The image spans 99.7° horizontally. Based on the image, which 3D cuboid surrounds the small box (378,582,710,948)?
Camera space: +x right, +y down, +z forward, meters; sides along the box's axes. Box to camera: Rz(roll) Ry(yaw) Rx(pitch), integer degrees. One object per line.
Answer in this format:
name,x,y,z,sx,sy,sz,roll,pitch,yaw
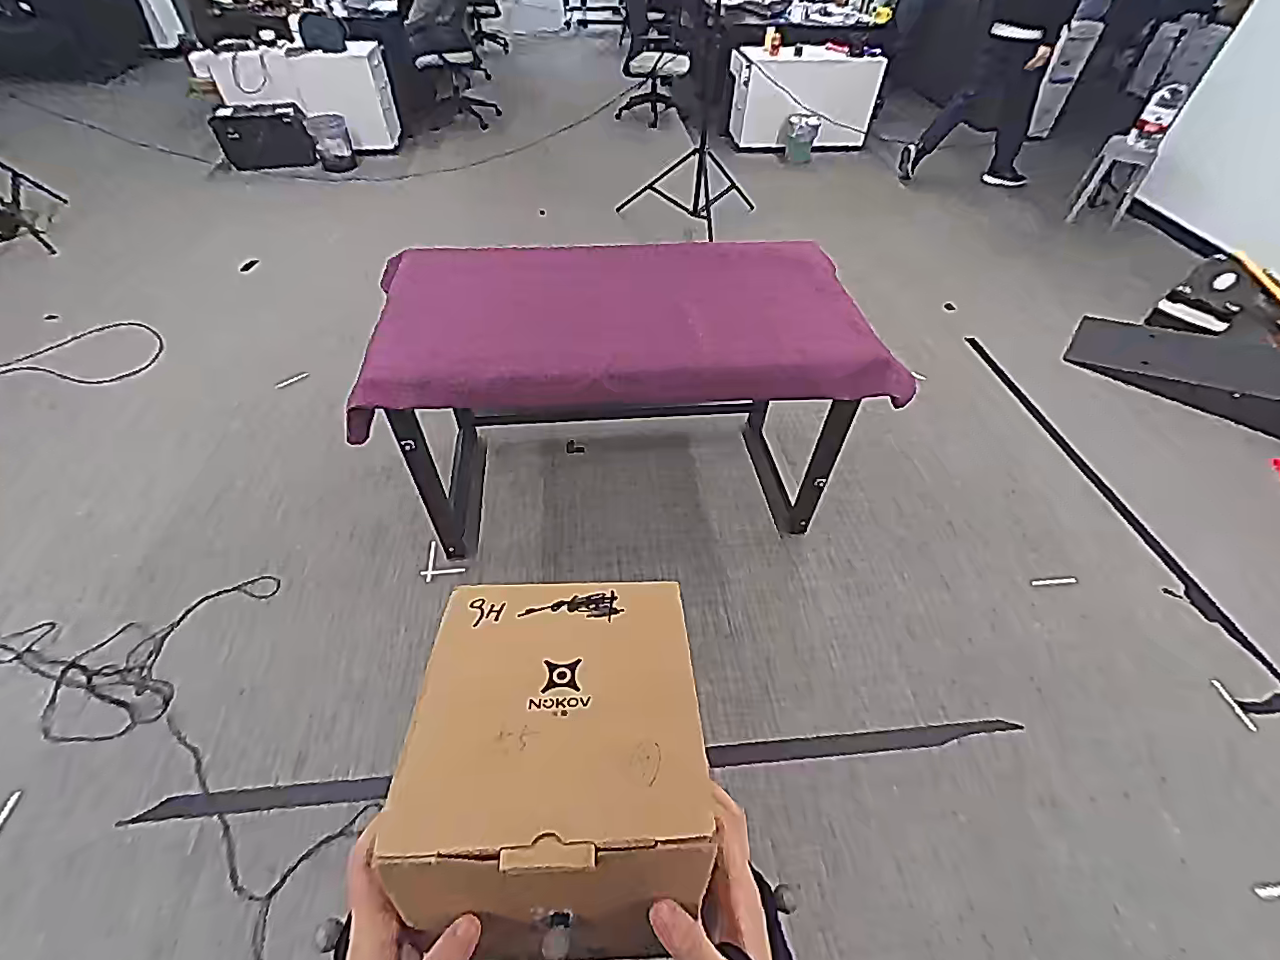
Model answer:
small box,-0.050,0.193,0.374,0.168,0.176,0.179,0,35,-3
